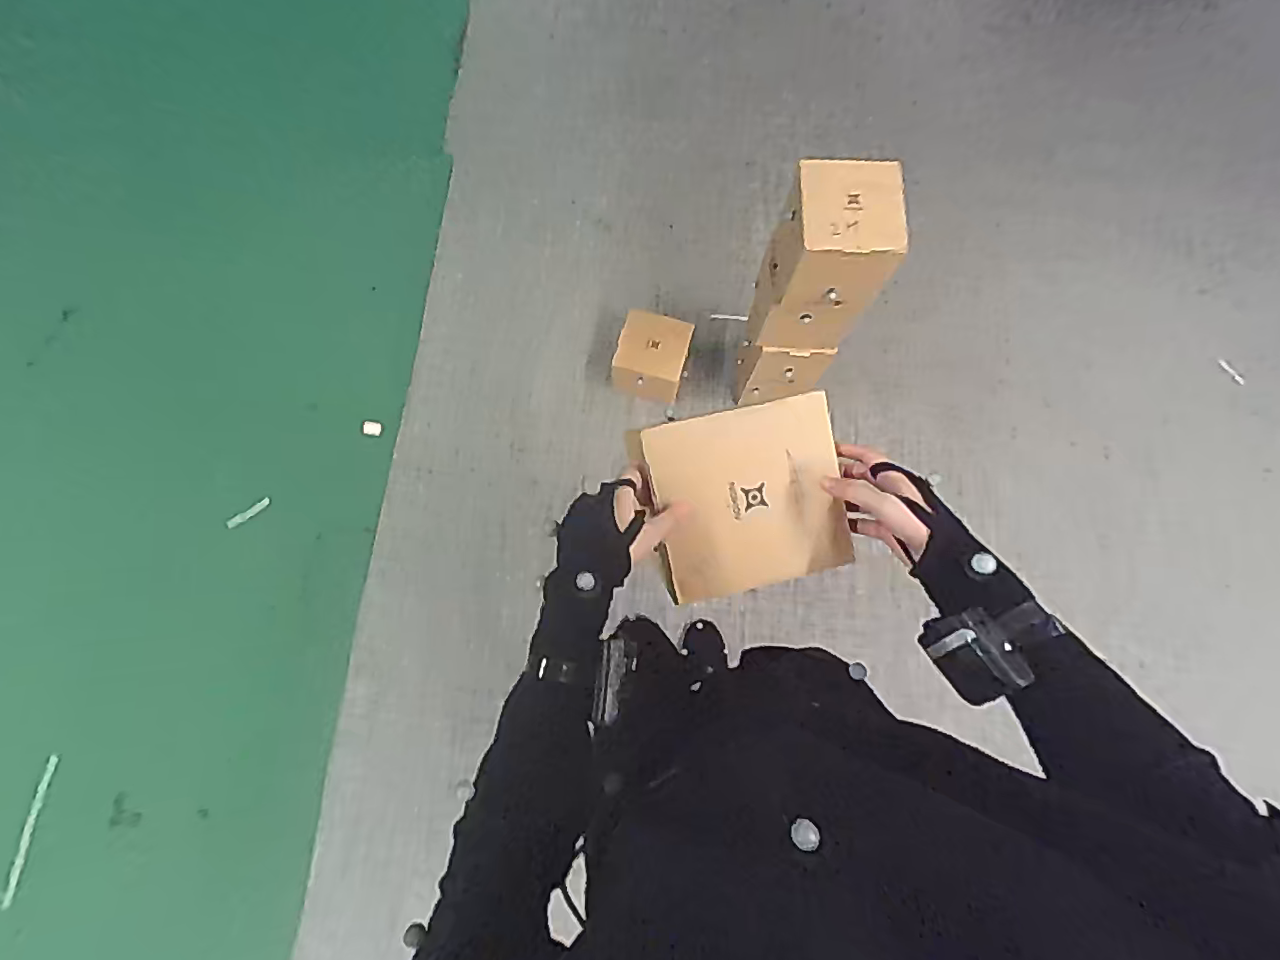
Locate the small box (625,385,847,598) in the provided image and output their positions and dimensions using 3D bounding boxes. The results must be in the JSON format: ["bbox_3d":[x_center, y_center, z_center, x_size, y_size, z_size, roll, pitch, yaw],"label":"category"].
[{"bbox_3d":[0.083,0.006,0.564,0.179,0.176,0.168,-13,95,-5],"label":"small box"}]

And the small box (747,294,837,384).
[{"bbox_3d":[0.350,-0.336,1.263,0.168,0.176,0.179,3,77,0],"label":"small box"}]

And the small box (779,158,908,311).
[{"bbox_3d":[0.344,-0.422,0.945,0.168,0.176,0.179,3,76,1],"label":"small box"}]

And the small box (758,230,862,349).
[{"bbox_3d":[0.342,-0.383,1.105,0.179,0.176,0.168,4,76,0],"label":"small box"}]

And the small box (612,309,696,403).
[{"bbox_3d":[0.037,-0.319,1.429,0.179,0.176,0.168,16,77,5],"label":"small box"}]
